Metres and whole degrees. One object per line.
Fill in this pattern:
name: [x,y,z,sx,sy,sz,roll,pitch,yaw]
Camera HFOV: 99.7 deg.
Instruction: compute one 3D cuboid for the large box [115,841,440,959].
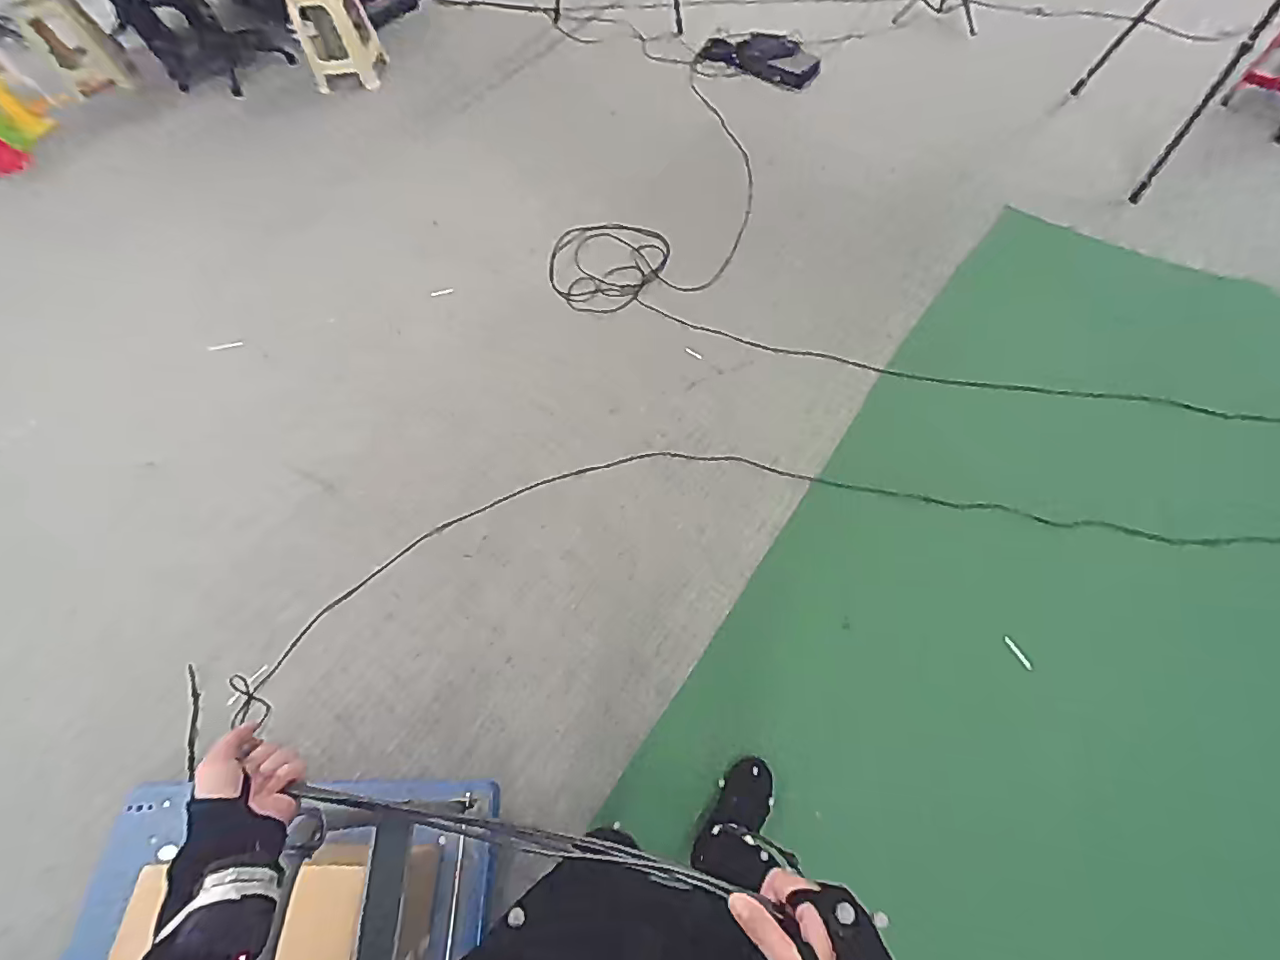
large box: [-0.626,0.852,0.968,0.408,0.320,0.320,-3,60,4]
